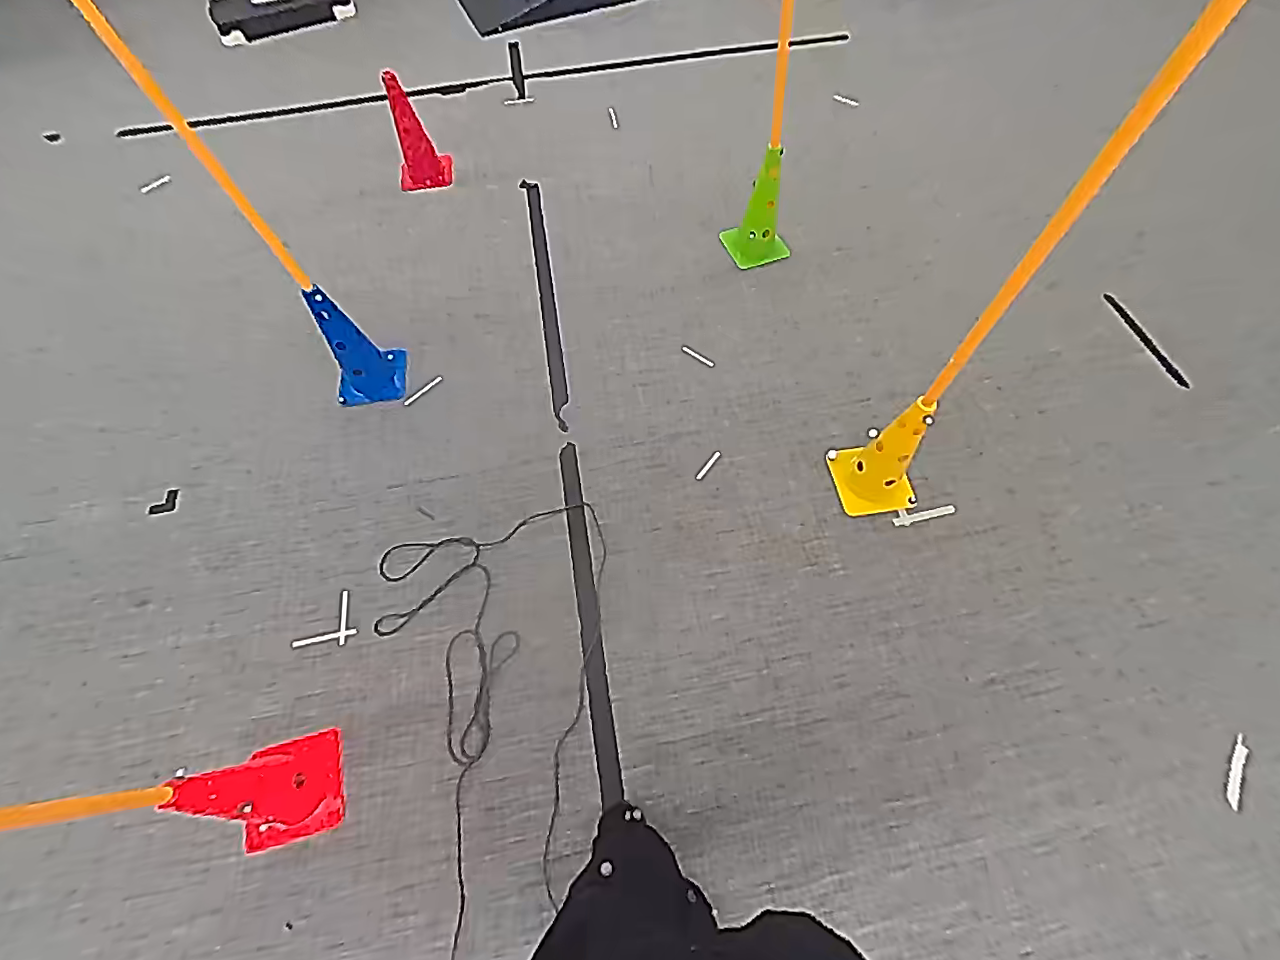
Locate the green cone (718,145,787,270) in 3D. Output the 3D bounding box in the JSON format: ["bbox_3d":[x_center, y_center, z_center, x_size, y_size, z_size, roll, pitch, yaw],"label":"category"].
[{"bbox_3d":[0.397,-0.915,1.780,0.200,0.368,0.202,-20,65,-8],"label":"green cone"}]

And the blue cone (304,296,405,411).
[{"bbox_3d":[-0.836,-0.380,1.545,0.193,0.380,0.192,-8,62,-2],"label":"blue cone"}]

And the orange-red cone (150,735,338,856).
[{"bbox_3d":[-0.747,0.587,1.004,0.199,0.360,0.198,-14,63,-7],"label":"orange-red cone"}]
